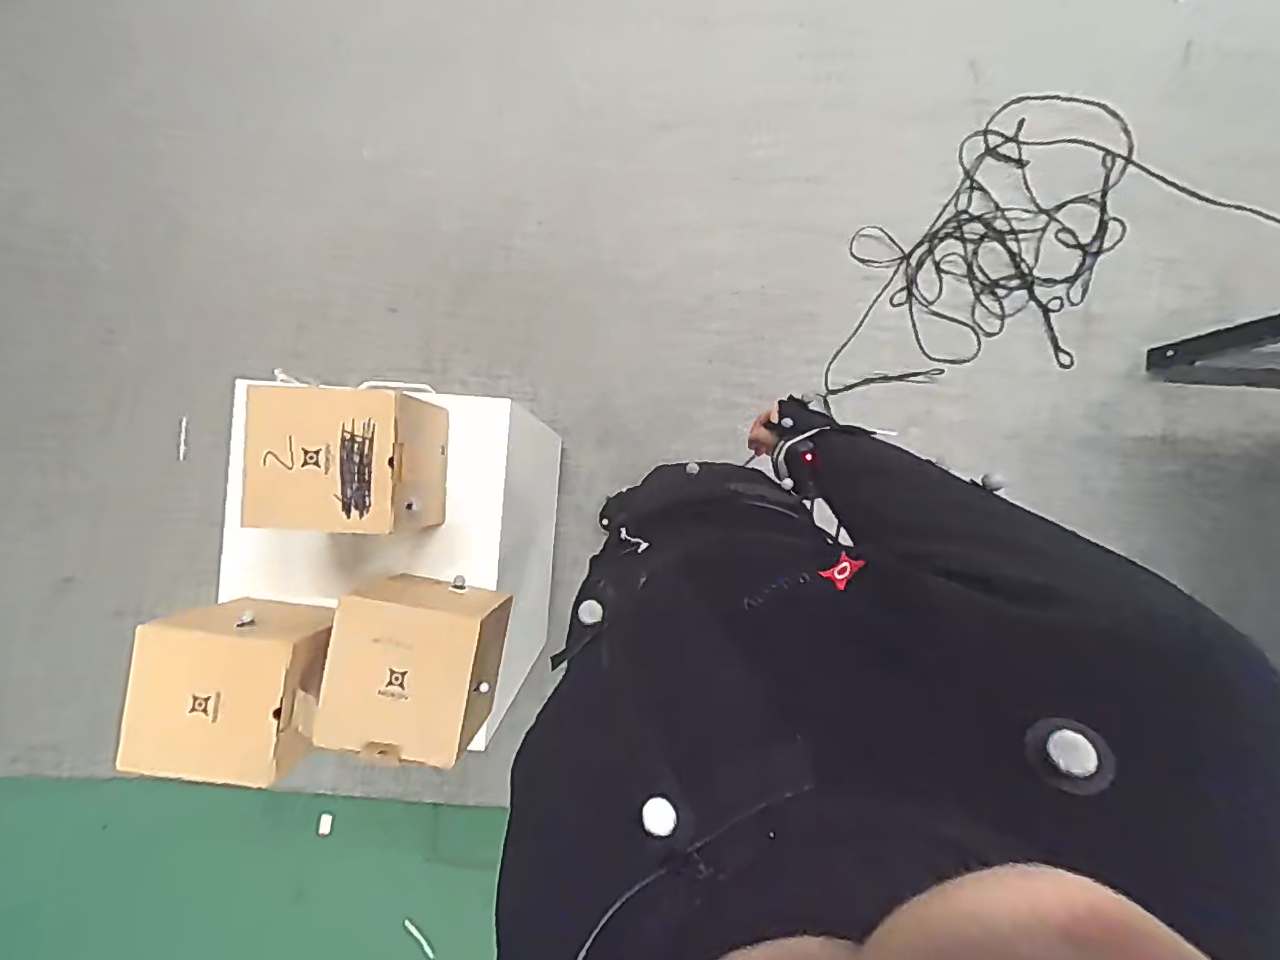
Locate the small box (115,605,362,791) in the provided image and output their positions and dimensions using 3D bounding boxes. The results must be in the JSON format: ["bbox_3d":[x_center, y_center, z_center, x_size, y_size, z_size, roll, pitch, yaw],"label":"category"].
[{"bbox_3d":[-0.487,0.259,0.683,0.179,0.176,0.168,7,87,-2],"label":"small box"}]
